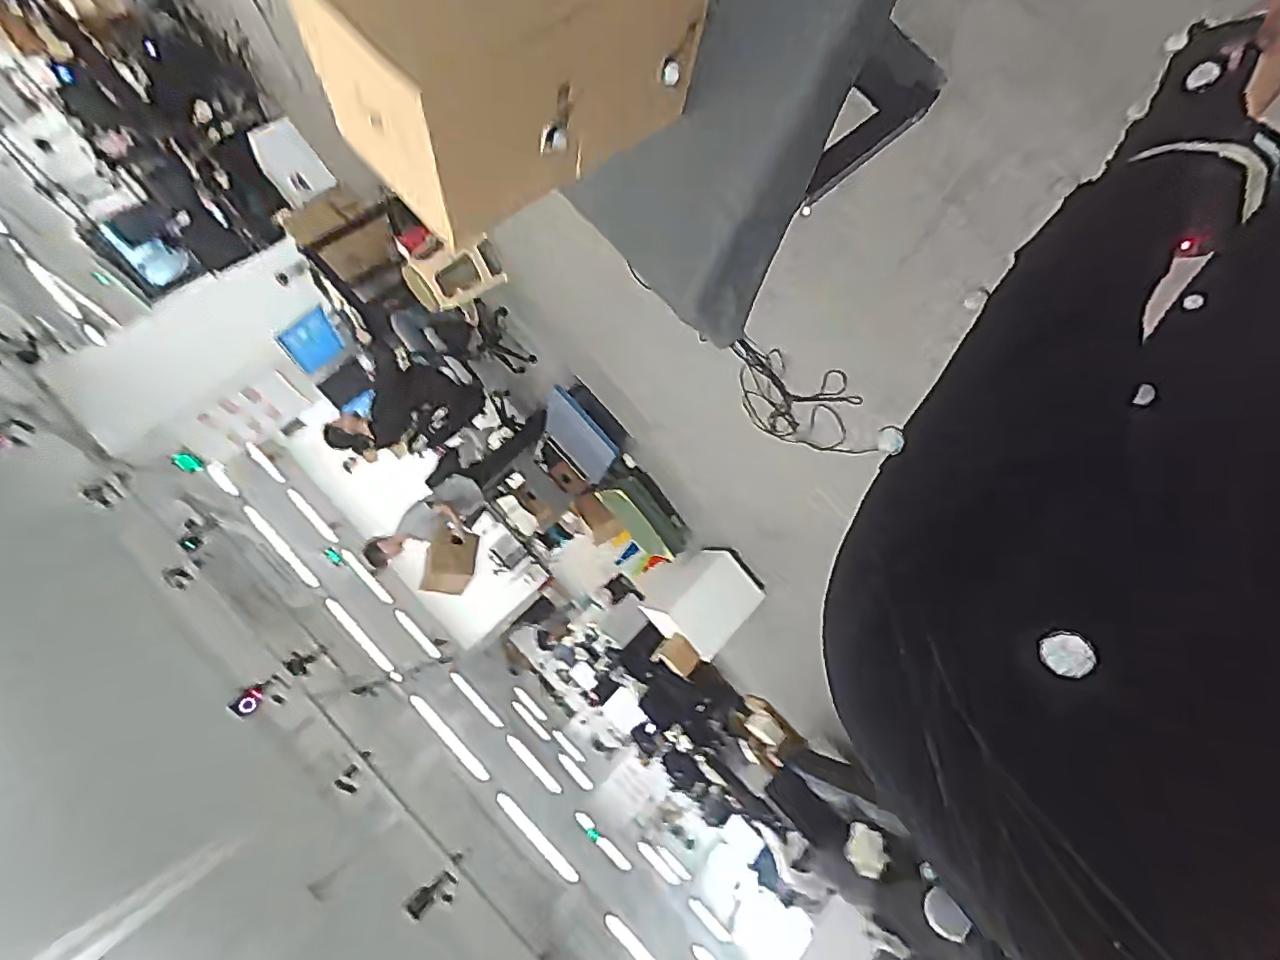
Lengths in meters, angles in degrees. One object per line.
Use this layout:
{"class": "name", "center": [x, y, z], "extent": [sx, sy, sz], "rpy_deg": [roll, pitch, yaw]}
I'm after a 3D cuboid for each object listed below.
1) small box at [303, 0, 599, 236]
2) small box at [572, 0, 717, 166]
{"class": "small box", "center": [-0.161, -0.369, 0.482], "extent": [0.179, 0.176, 0.168], "rpy_deg": [46, 162, 6]}
{"class": "small box", "center": [-0.047, -0.469, 0.540], "extent": [0.179, 0.176, 0.168], "rpy_deg": [46, 161, 6]}
